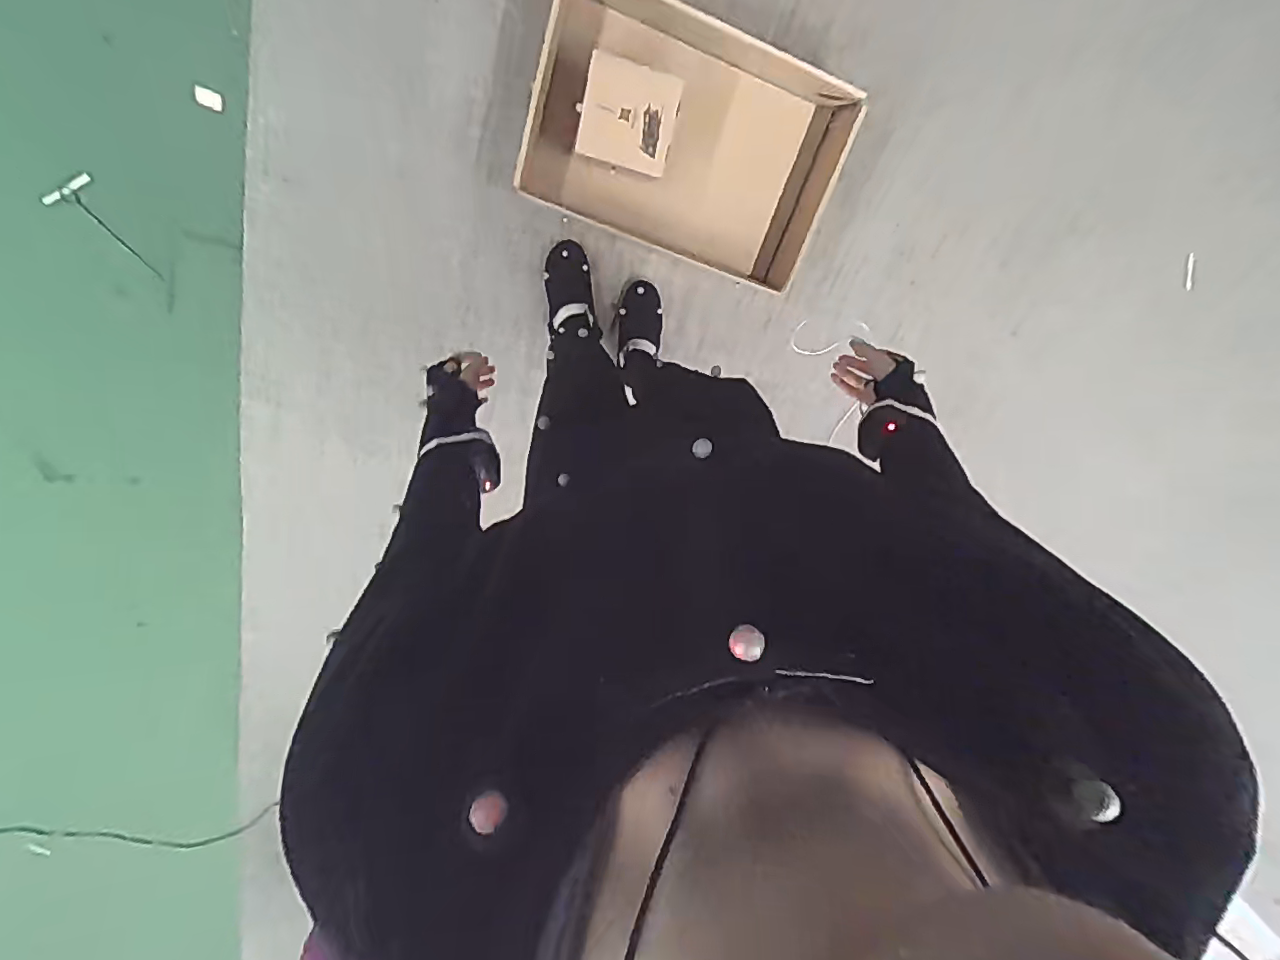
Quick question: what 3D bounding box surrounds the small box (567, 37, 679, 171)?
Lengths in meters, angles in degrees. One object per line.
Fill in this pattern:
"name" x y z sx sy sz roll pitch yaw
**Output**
"small box" -0.036 -0.725 1.066 0.179 0.176 0.168 13 115 -8
